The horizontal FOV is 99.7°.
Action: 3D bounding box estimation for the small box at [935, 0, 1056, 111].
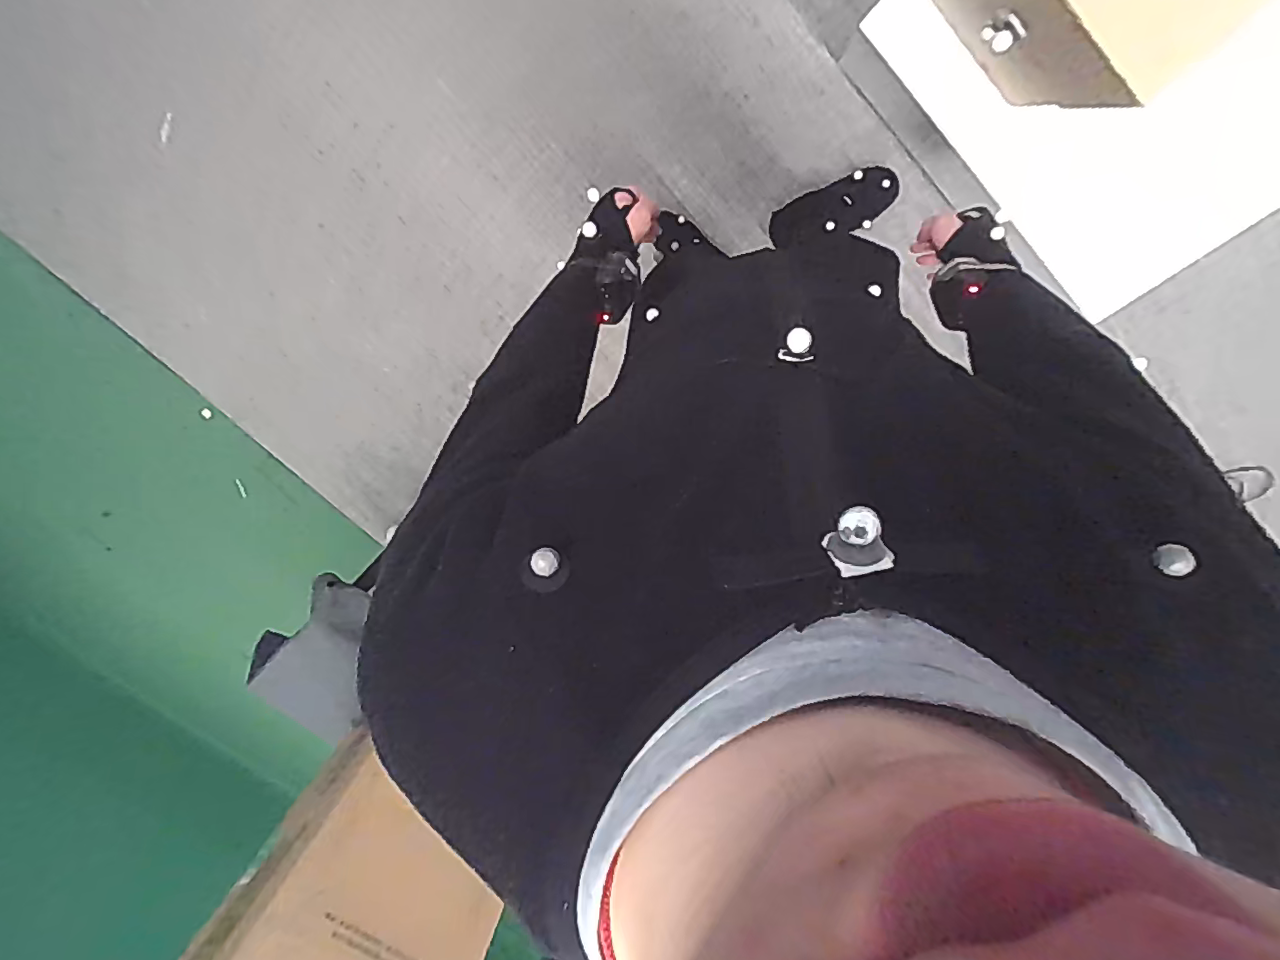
[{"bbox_3d":[0.425,-0.499,0.524,0.168,0.176,0.179,41,124,-13],"label":"small box"}]
